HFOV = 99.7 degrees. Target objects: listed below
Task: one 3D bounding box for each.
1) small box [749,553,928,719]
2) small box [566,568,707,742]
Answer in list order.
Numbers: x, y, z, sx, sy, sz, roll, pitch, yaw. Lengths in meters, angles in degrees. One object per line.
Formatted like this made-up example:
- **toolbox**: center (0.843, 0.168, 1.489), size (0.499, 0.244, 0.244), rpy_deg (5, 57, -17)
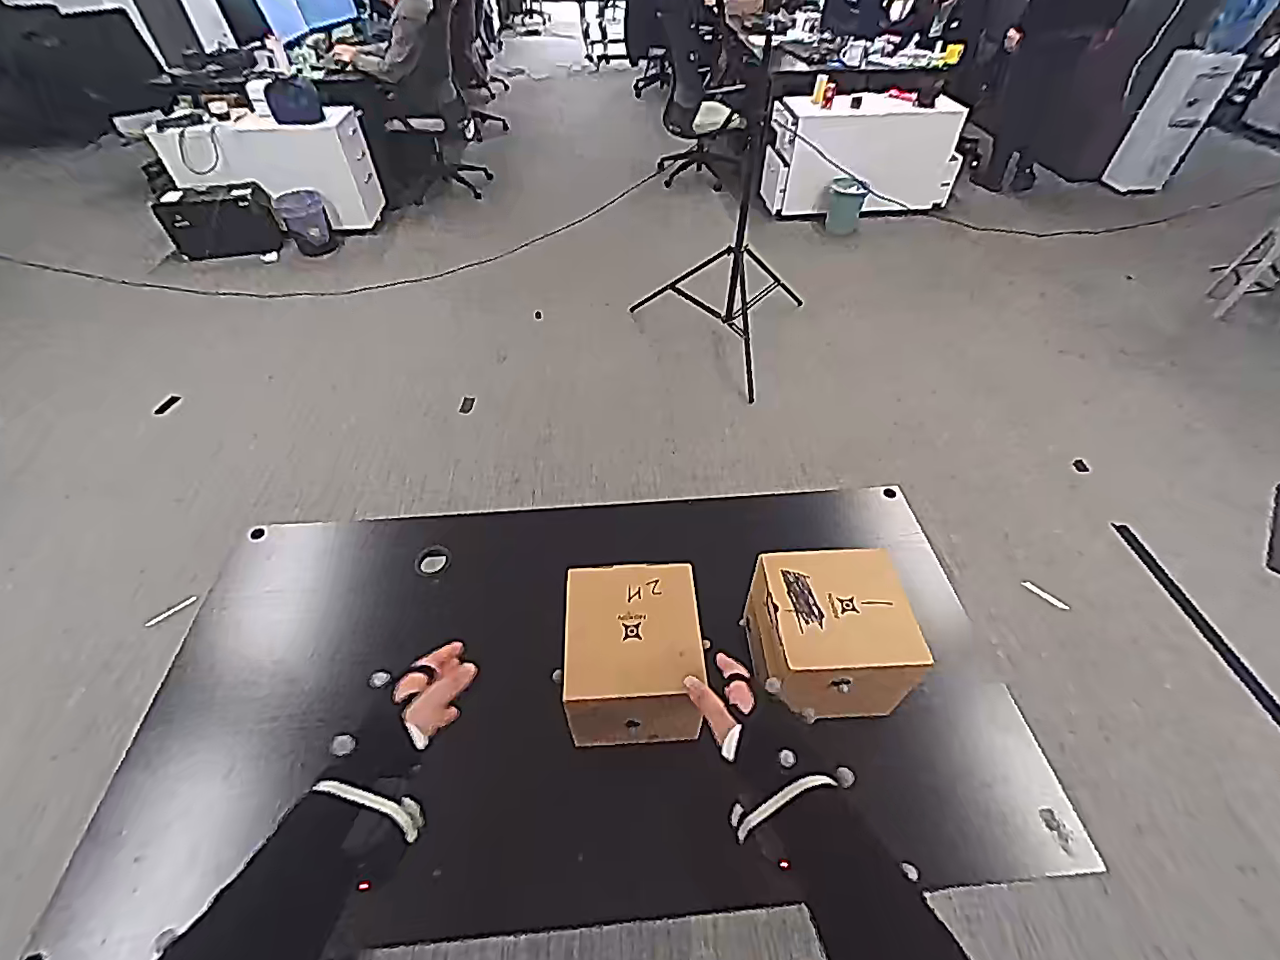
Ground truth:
- **small box**: center (0.254, 0.218, 0.748), size (0.179, 0.176, 0.168), rpy_deg (-2, 47, -2)
- **small box**: center (-0.006, 0.240, 0.730), size (0.168, 0.176, 0.179), rpy_deg (-2, 47, -2)
